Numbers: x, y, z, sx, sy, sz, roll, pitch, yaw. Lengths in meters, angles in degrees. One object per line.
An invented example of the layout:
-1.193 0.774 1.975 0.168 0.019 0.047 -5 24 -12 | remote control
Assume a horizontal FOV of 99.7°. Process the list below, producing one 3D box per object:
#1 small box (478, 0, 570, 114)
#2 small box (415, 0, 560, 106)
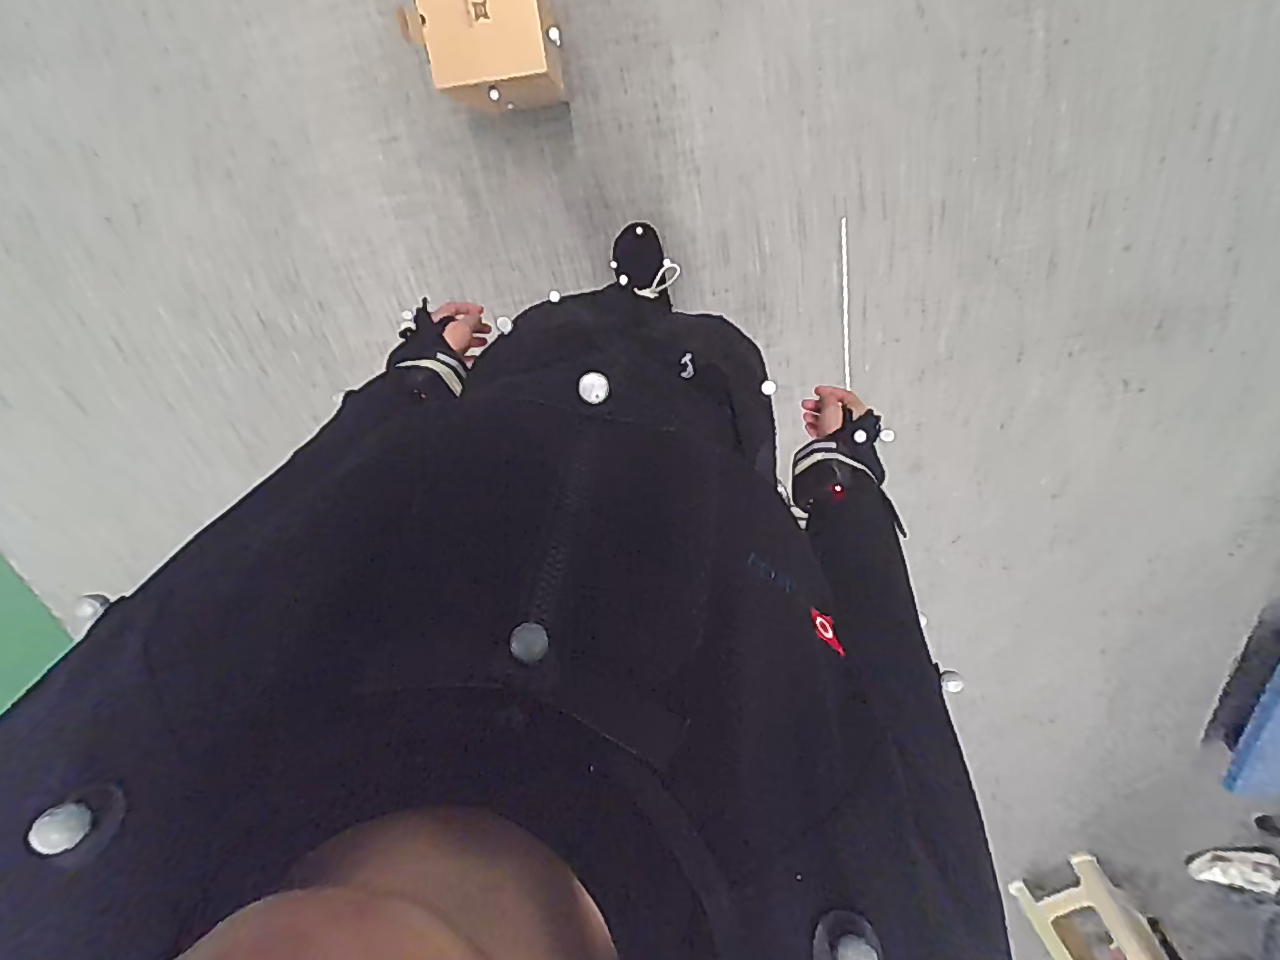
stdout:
-0.236 -0.777 0.973 0.179 0.176 0.168 -5 117 5 | small box
-0.225 -0.694 0.832 0.179 0.176 0.168 -5 117 5 | small box
